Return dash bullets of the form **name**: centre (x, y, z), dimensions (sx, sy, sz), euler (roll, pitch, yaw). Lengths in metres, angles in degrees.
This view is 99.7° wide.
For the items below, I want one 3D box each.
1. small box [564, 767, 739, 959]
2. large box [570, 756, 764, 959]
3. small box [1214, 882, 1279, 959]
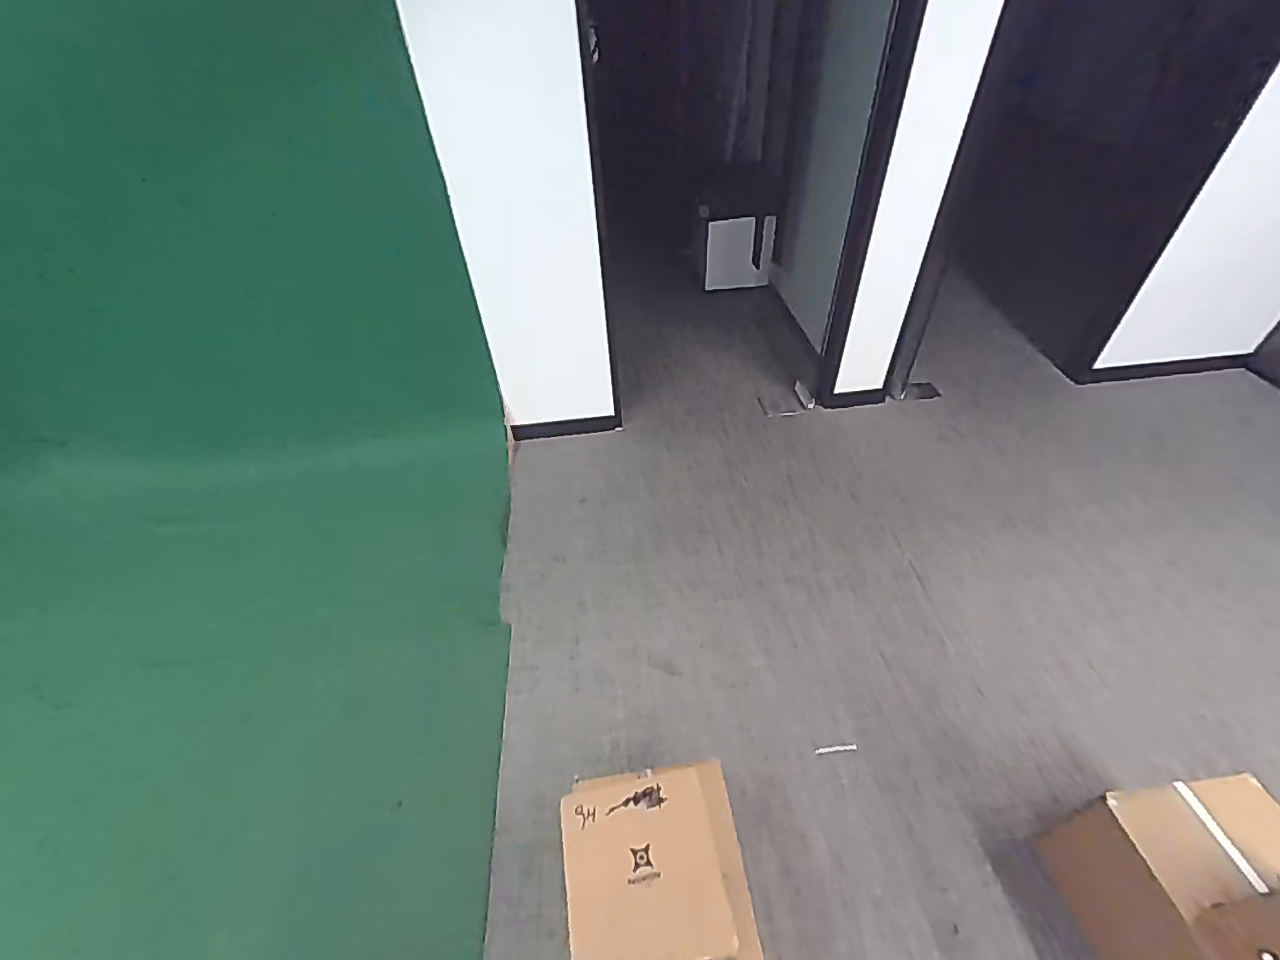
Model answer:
- **small box**: centre (0.009, 0.470, 0.633), dimensions (0.168, 0.176, 0.179), euler (-9, 44, -6)
- **large box**: centre (0.044, 0.837, 1.075), dimensions (0.320, 0.320, 0.408), euler (-7, 43, -3)
- **small box**: centre (1.047, 0.699, 0.805), dimensions (0.179, 0.176, 0.168), euler (-9, 44, -4)
